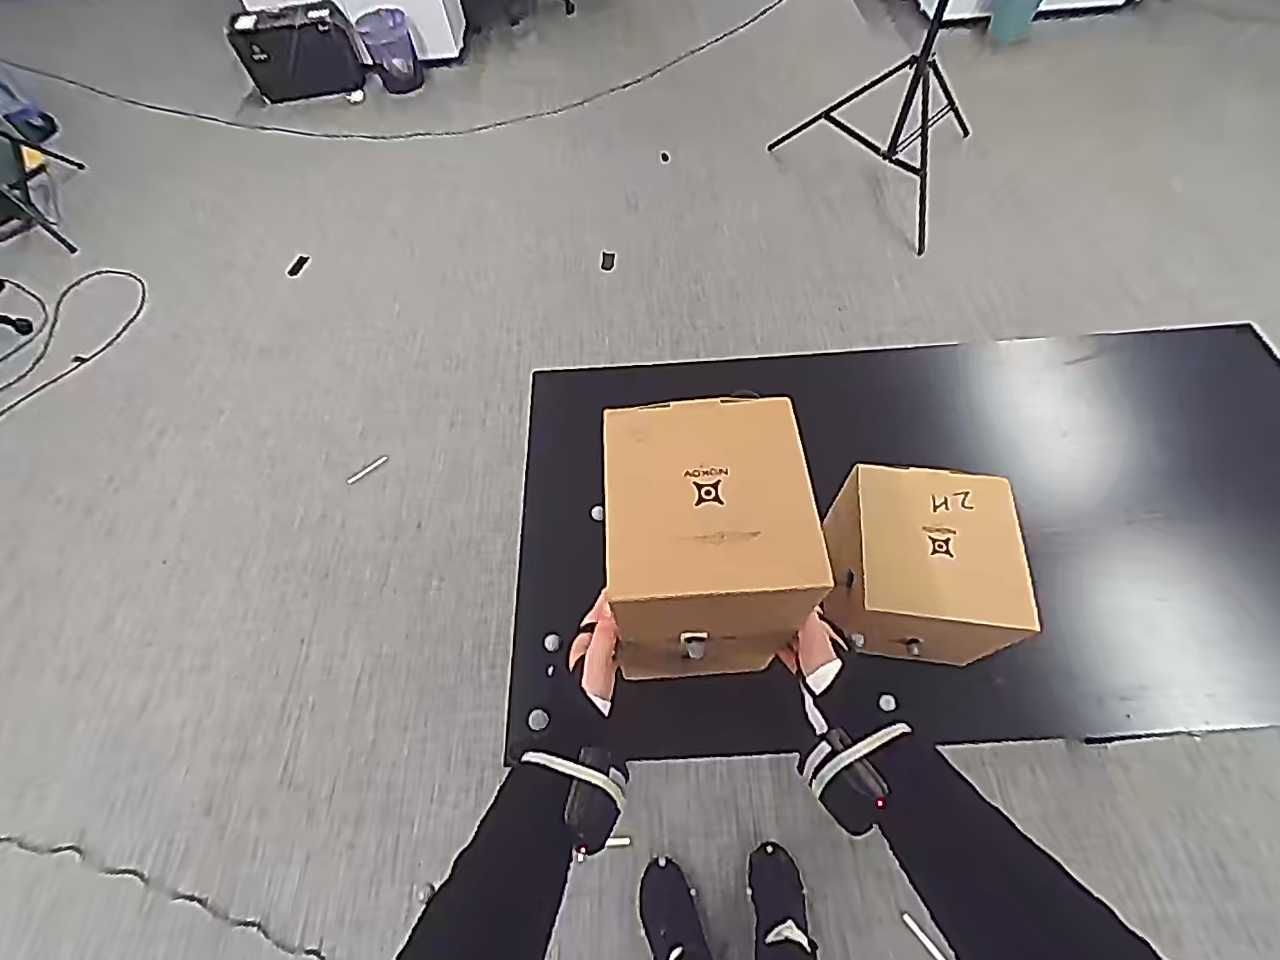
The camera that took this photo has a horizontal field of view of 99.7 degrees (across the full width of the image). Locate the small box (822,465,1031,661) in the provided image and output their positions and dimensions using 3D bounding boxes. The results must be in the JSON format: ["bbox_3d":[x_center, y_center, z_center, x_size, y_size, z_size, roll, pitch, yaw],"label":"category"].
[{"bbox_3d":[0.319,0.105,0.645,0.168,0.176,0.179,6,60,7],"label":"small box"}]

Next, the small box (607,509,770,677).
[{"bbox_3d":[0.059,0.132,0.647,0.179,0.176,0.168,-5,60,1],"label":"small box"}]

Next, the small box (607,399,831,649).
[{"bbox_3d":[0.058,0.048,0.506,0.168,0.176,0.179,-4,61,1],"label":"small box"}]
